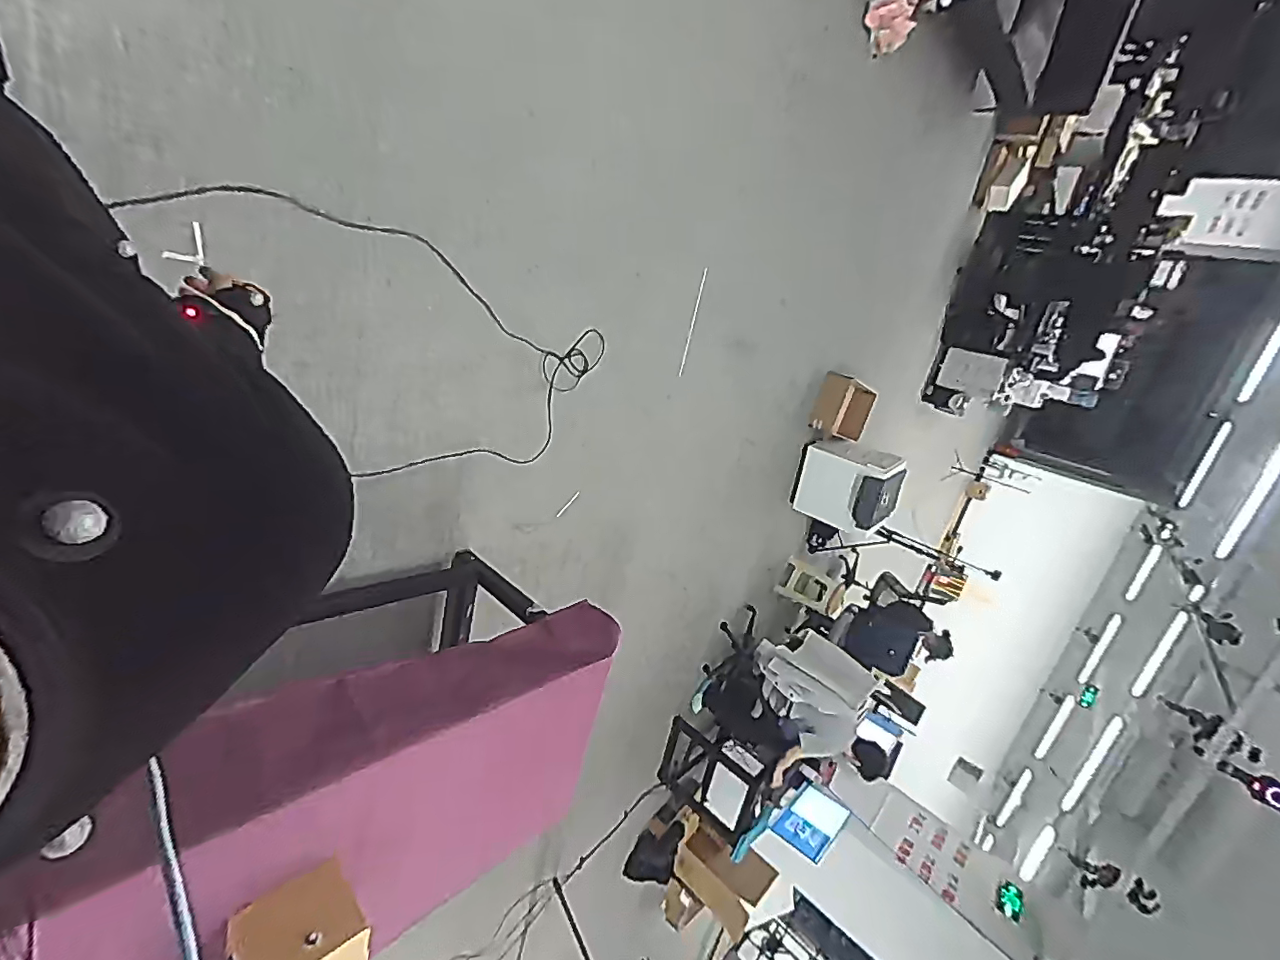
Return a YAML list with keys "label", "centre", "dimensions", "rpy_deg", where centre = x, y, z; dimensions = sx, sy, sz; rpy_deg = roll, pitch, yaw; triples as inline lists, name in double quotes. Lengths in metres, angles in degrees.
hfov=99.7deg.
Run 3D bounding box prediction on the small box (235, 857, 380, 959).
- label: "small box"
  centre: [-0.598, 0.837, 0.971]
  dimensions: [0.179, 0.176, 0.168]
  rpy_deg: [-6, 115, -48]
